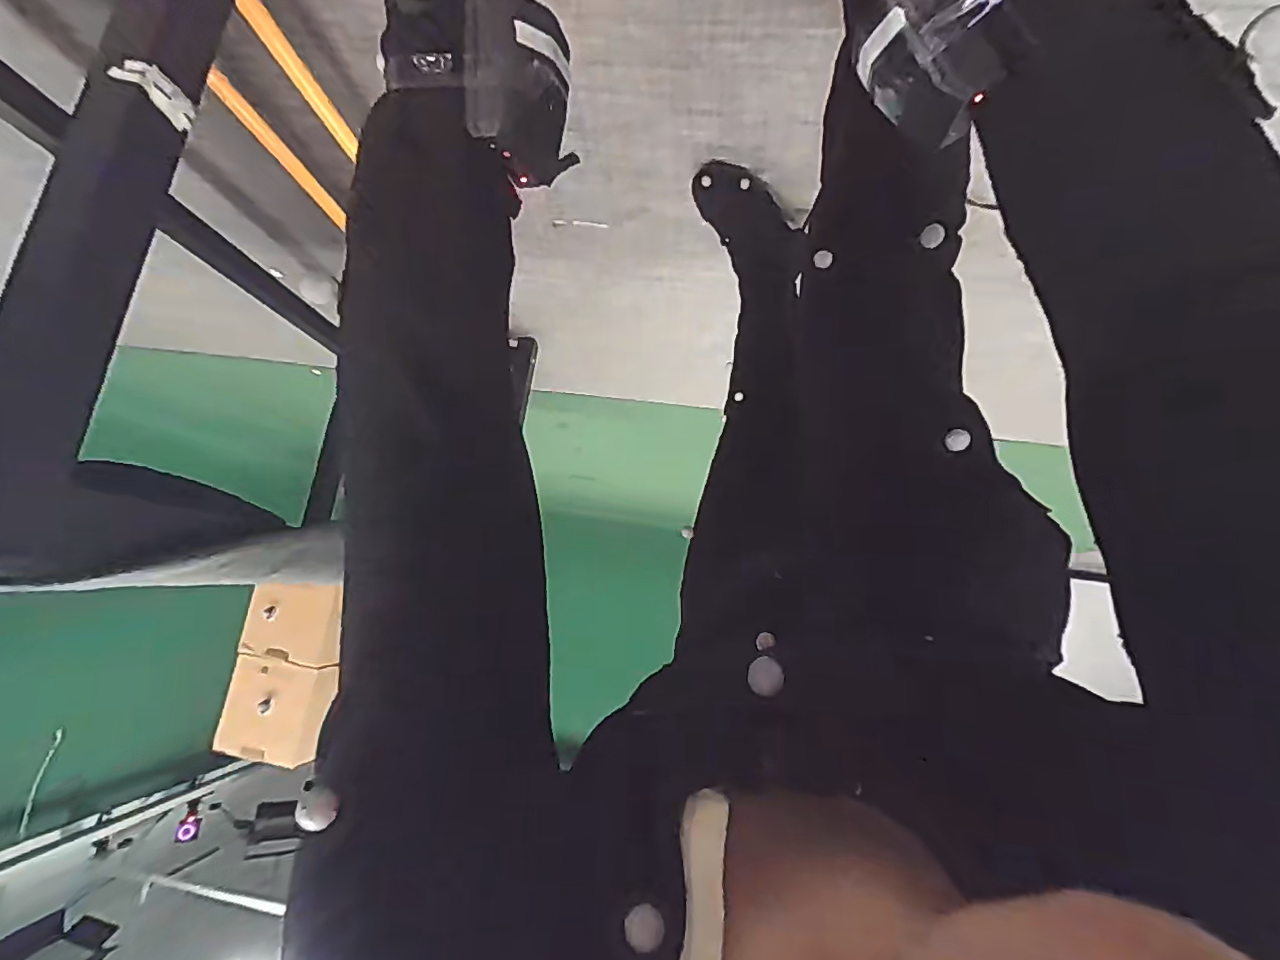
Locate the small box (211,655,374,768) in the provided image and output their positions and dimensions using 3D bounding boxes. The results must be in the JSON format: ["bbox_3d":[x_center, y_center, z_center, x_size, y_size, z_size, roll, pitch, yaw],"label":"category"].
[{"bbox_3d":[-0.639,0.414,1.015,0.168,0.176,0.179,8,169,9],"label":"small box"}]

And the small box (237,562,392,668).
[{"bbox_3d":[-0.614,0.253,1.042,0.168,0.176,0.179,8,170,10],"label":"small box"}]
